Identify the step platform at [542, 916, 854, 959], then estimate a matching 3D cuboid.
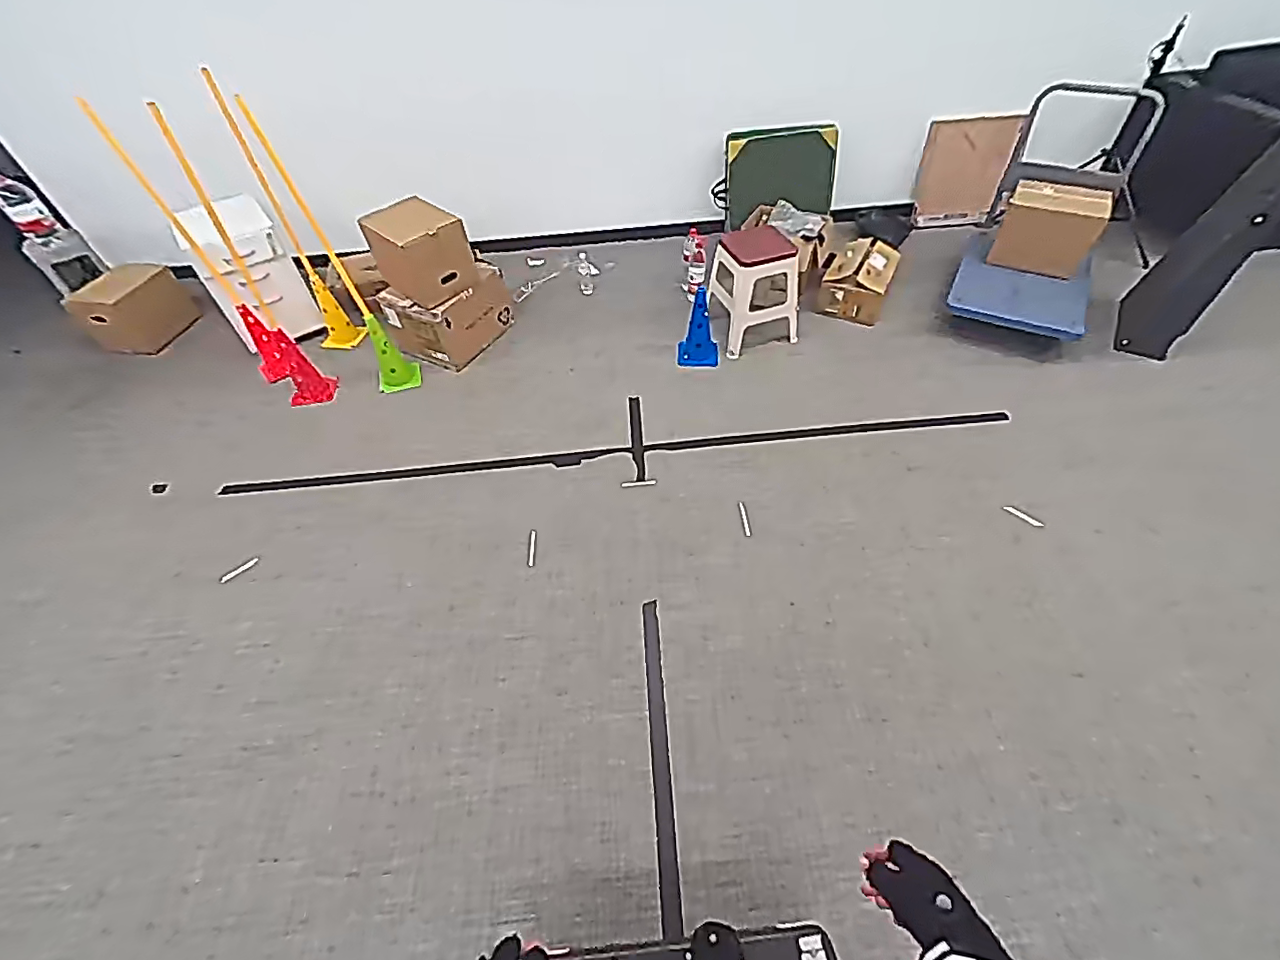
[{"bbox_3d":[0.120,1.111,1.105,0.684,0.204,0.286,-6,49,-2],"label":"step platform"}]
